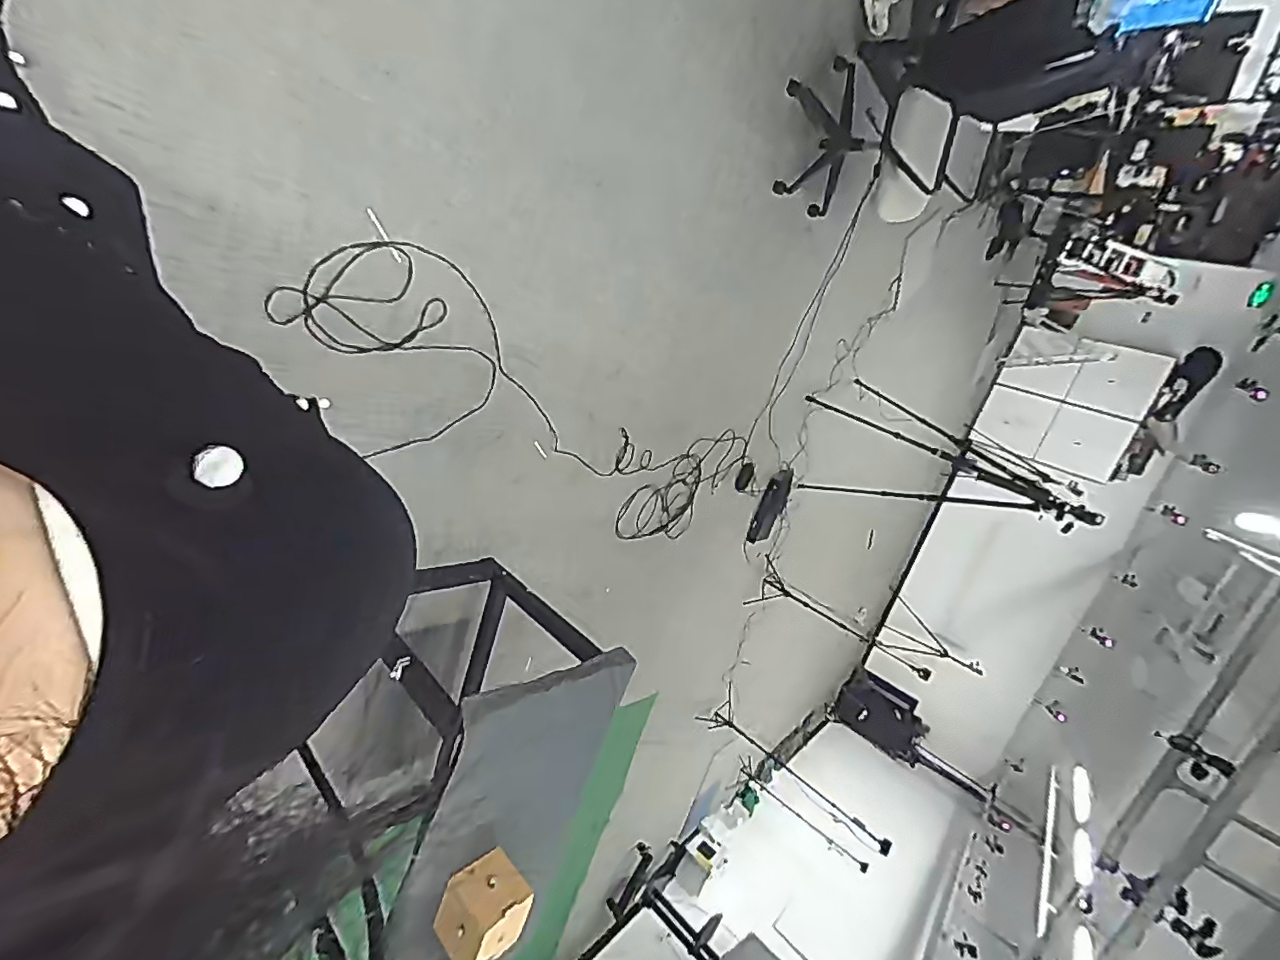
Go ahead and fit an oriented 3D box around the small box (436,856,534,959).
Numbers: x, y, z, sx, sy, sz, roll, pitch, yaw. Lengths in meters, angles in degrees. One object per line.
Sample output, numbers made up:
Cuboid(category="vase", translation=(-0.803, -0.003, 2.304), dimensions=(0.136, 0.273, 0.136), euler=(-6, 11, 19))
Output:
Cuboid(category="small box", translation=(-0.414, 1.144, 1.430), dimensions=(0.168, 0.176, 0.179), euler=(3, 110, -54))
